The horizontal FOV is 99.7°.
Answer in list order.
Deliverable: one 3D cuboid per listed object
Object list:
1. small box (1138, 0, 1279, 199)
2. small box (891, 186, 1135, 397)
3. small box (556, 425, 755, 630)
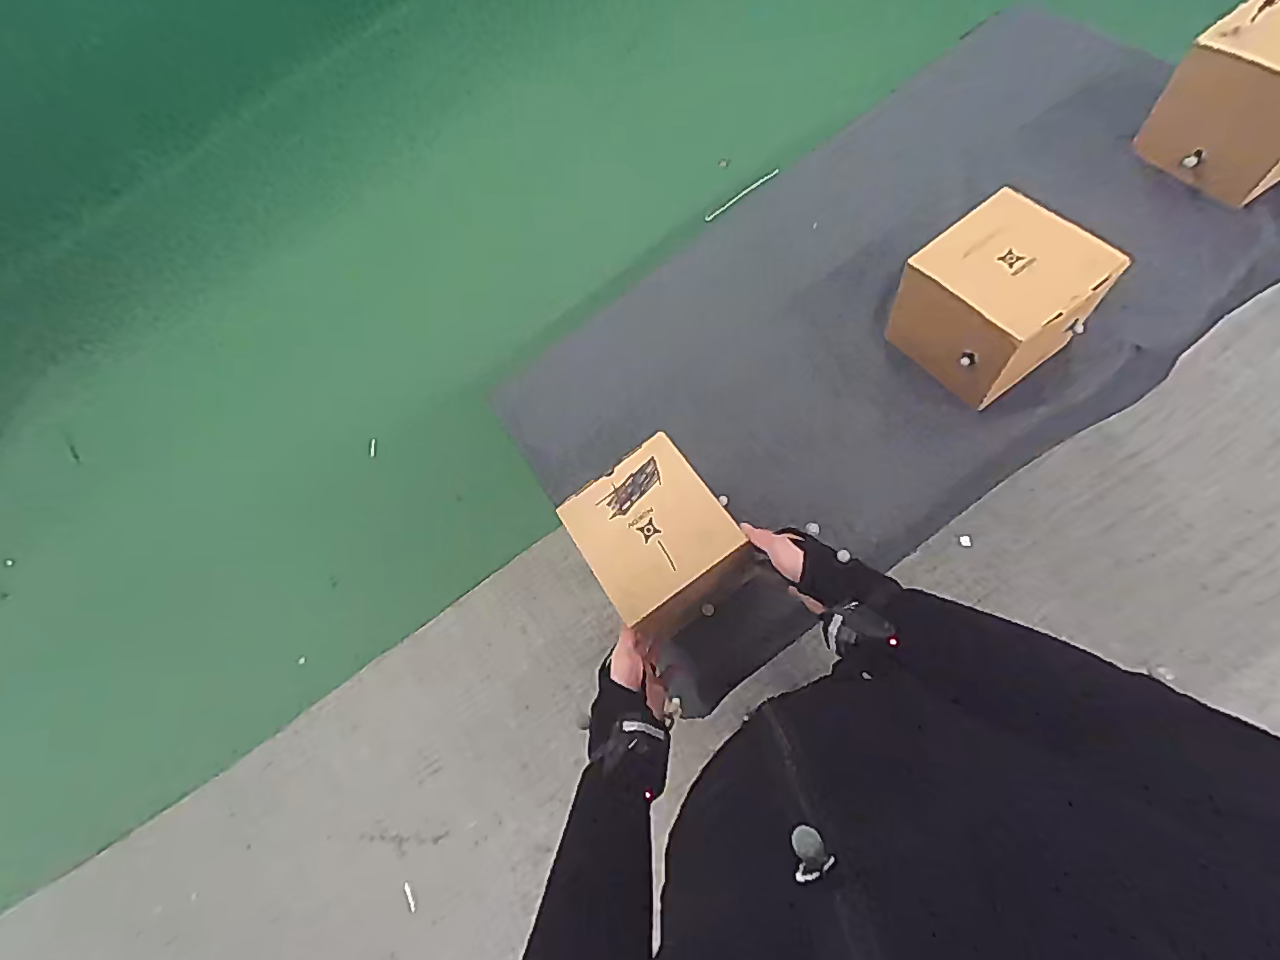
[{"bbox_3d":[0.848,-0.516,0.723,0.168,0.176,0.179,-35,64,2],"label":"small box"},{"bbox_3d":[0.468,-0.234,0.715,0.168,0.176,0.179,-36,63,-3],"label":"small box"},{"bbox_3d":[0.027,0.069,0.682,0.168,0.176,0.179,-35,65,2],"label":"small box"}]
